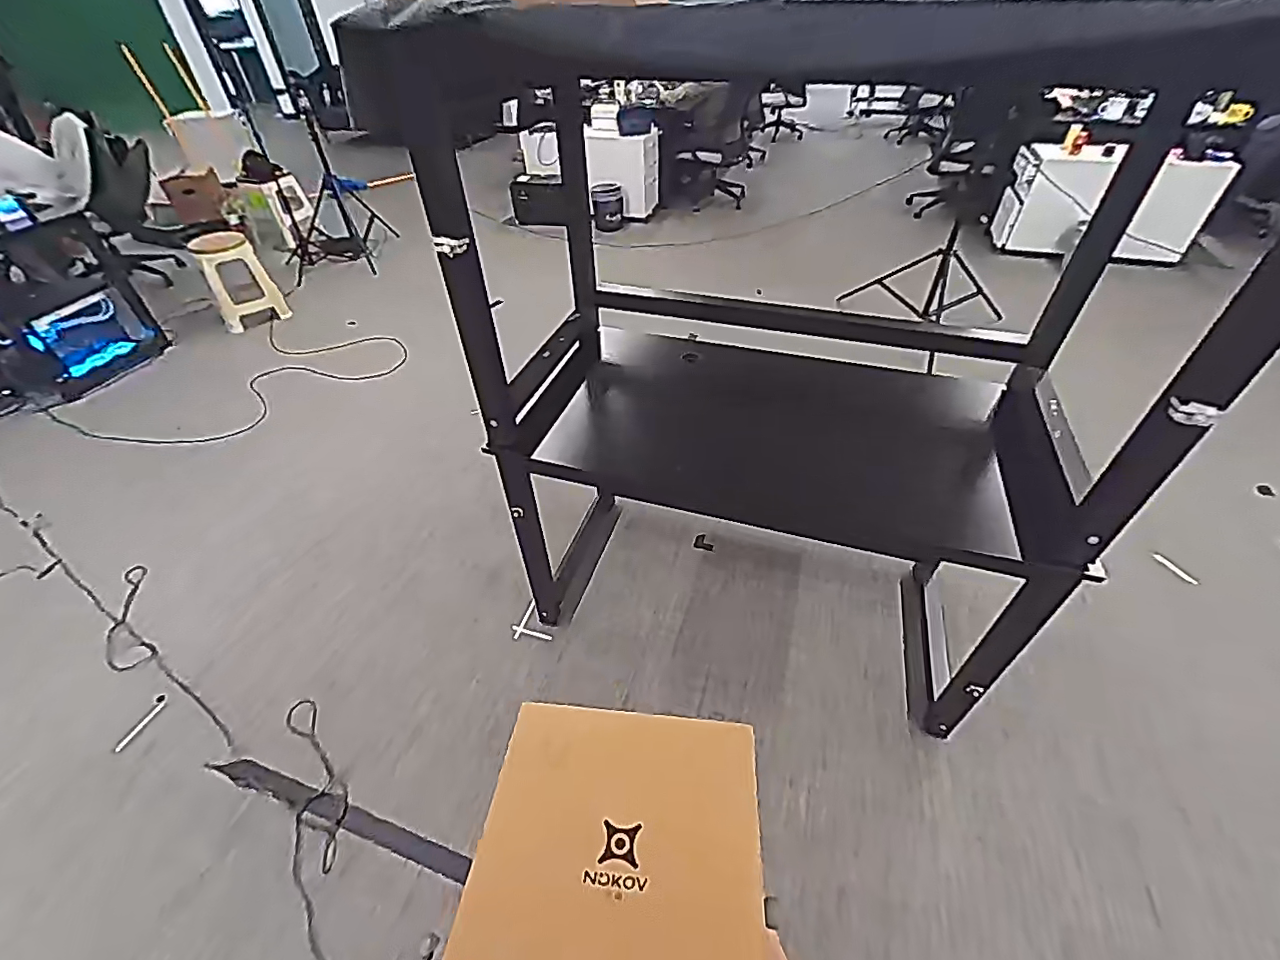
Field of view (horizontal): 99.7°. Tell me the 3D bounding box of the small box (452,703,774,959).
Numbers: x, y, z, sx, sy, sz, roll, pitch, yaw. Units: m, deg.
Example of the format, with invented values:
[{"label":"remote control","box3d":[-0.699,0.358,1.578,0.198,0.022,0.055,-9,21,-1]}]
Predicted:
[{"label":"small box","box3d":[-0.010,0.281,0.359,0.168,0.176,0.179,4,36,5]}]
